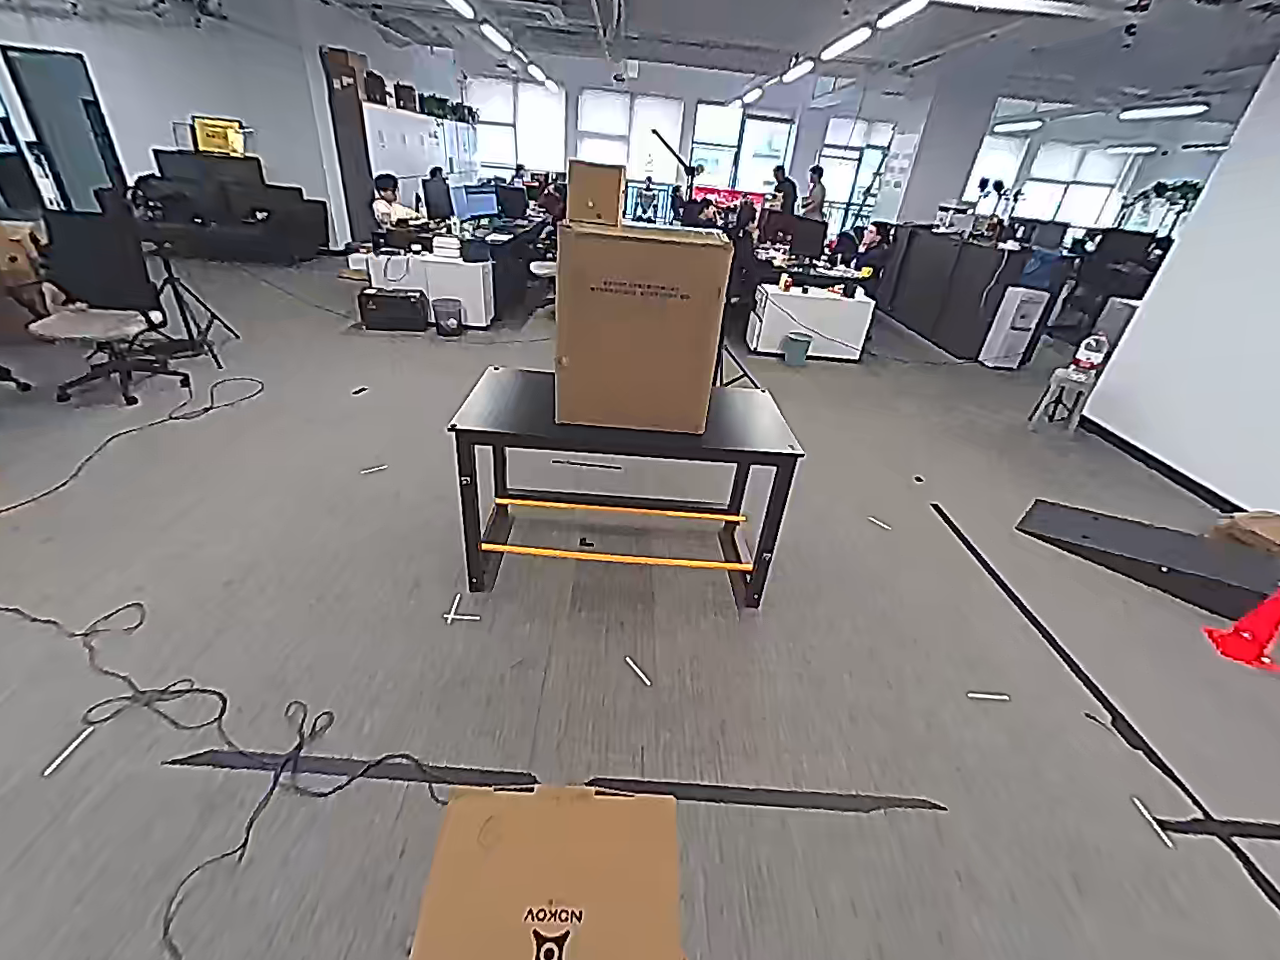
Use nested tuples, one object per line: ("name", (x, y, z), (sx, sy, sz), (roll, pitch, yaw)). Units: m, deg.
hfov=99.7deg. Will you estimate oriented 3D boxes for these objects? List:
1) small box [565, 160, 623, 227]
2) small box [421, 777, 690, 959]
("small box", (-0.148, -0.920, 1.734), (0.168, 0.176, 0.179), (6, 30, 0))
("small box", (-0.058, 0.342, 0.391), (0.168, 0.176, 0.179), (4, 43, -3))
